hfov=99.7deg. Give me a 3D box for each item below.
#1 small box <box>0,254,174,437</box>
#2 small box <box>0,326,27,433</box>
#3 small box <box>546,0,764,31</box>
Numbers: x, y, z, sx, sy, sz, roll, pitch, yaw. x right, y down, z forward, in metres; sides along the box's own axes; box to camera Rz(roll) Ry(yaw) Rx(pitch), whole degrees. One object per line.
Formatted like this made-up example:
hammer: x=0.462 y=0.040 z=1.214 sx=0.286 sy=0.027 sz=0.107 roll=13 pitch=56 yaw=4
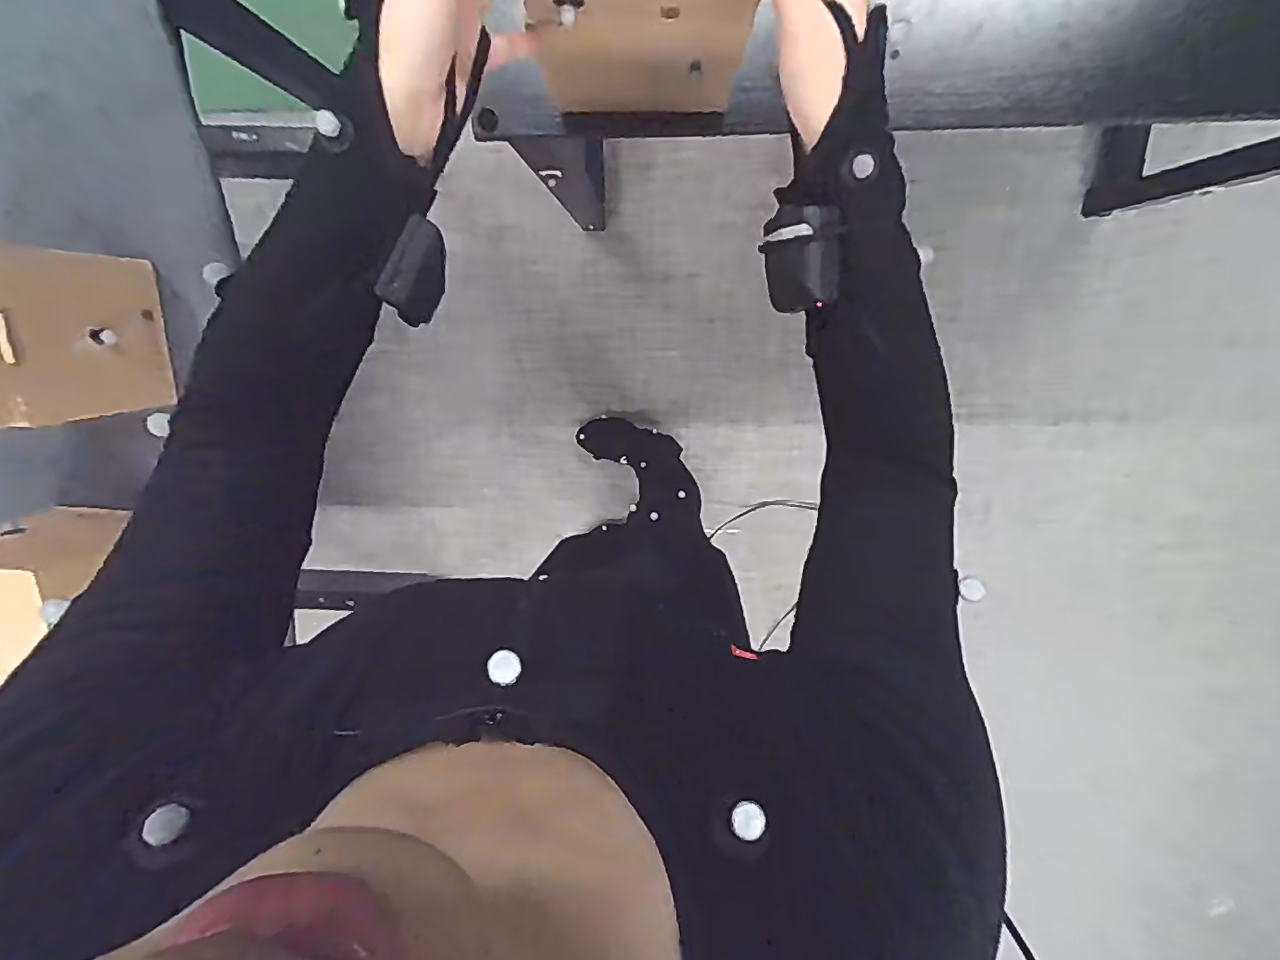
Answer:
small box: x=-0.641 y=-0.147 z=0.568 sx=0.179 sy=0.176 sz=0.168 roll=4 pitch=107 yaw=2
small box: x=-0.651 y=-0.111 z=0.409 sx=0.168 sy=0.176 sz=0.179 roll=2 pitch=107 yaw=3
small box: x=0.008 y=-0.391 z=0.300 sx=0.168 sy=0.176 sz=0.179 roll=2 pitch=106 yaw=0
